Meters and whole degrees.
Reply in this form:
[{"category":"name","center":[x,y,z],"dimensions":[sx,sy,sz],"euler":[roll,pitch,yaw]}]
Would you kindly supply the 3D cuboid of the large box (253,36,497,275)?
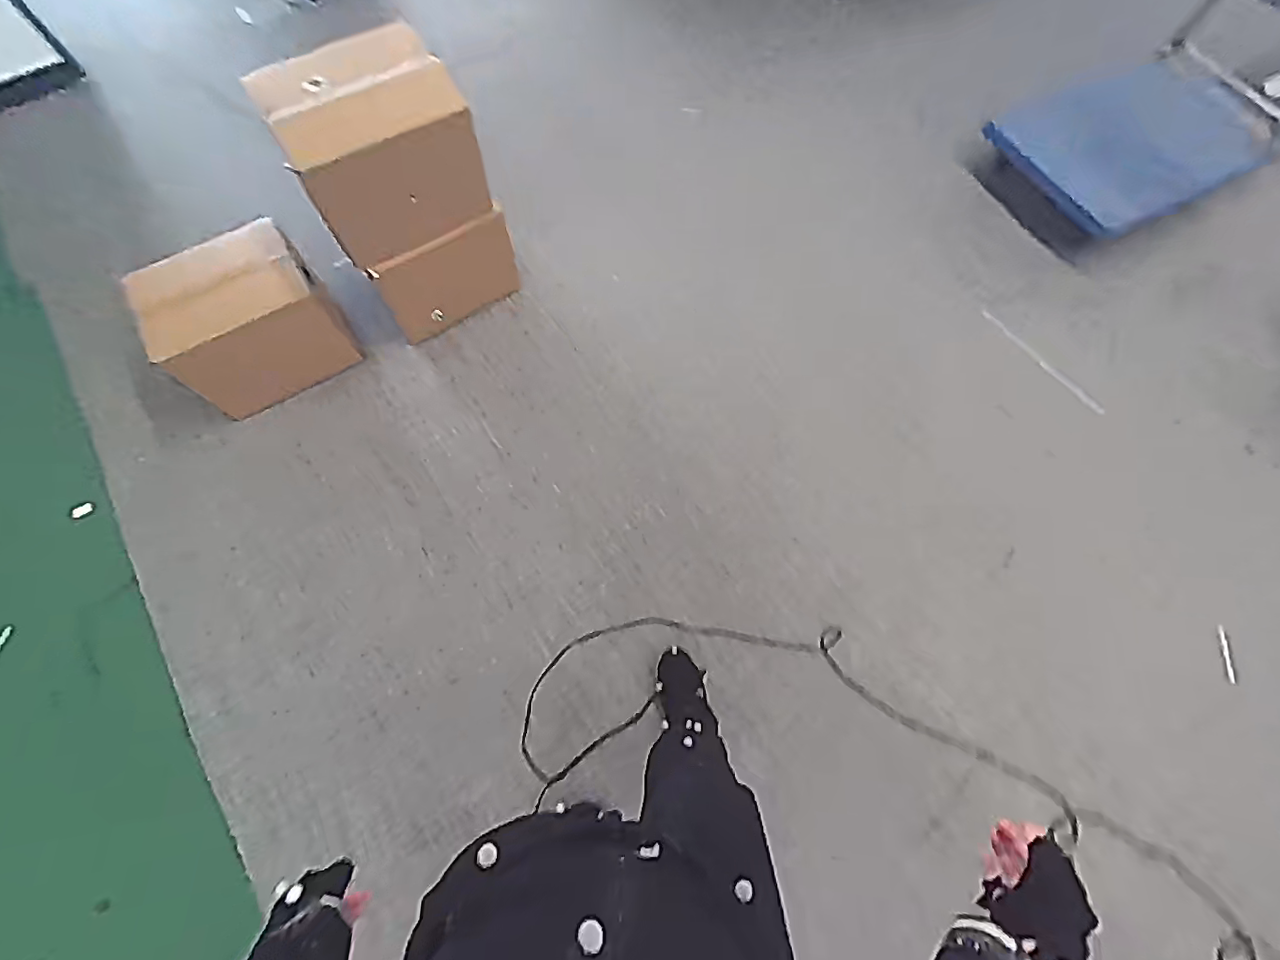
[{"category":"large box","center":[-0.638,-0.805,1.371],"dimensions":[0.408,0.320,0.320],"euler":[-32,76,-12]}]
